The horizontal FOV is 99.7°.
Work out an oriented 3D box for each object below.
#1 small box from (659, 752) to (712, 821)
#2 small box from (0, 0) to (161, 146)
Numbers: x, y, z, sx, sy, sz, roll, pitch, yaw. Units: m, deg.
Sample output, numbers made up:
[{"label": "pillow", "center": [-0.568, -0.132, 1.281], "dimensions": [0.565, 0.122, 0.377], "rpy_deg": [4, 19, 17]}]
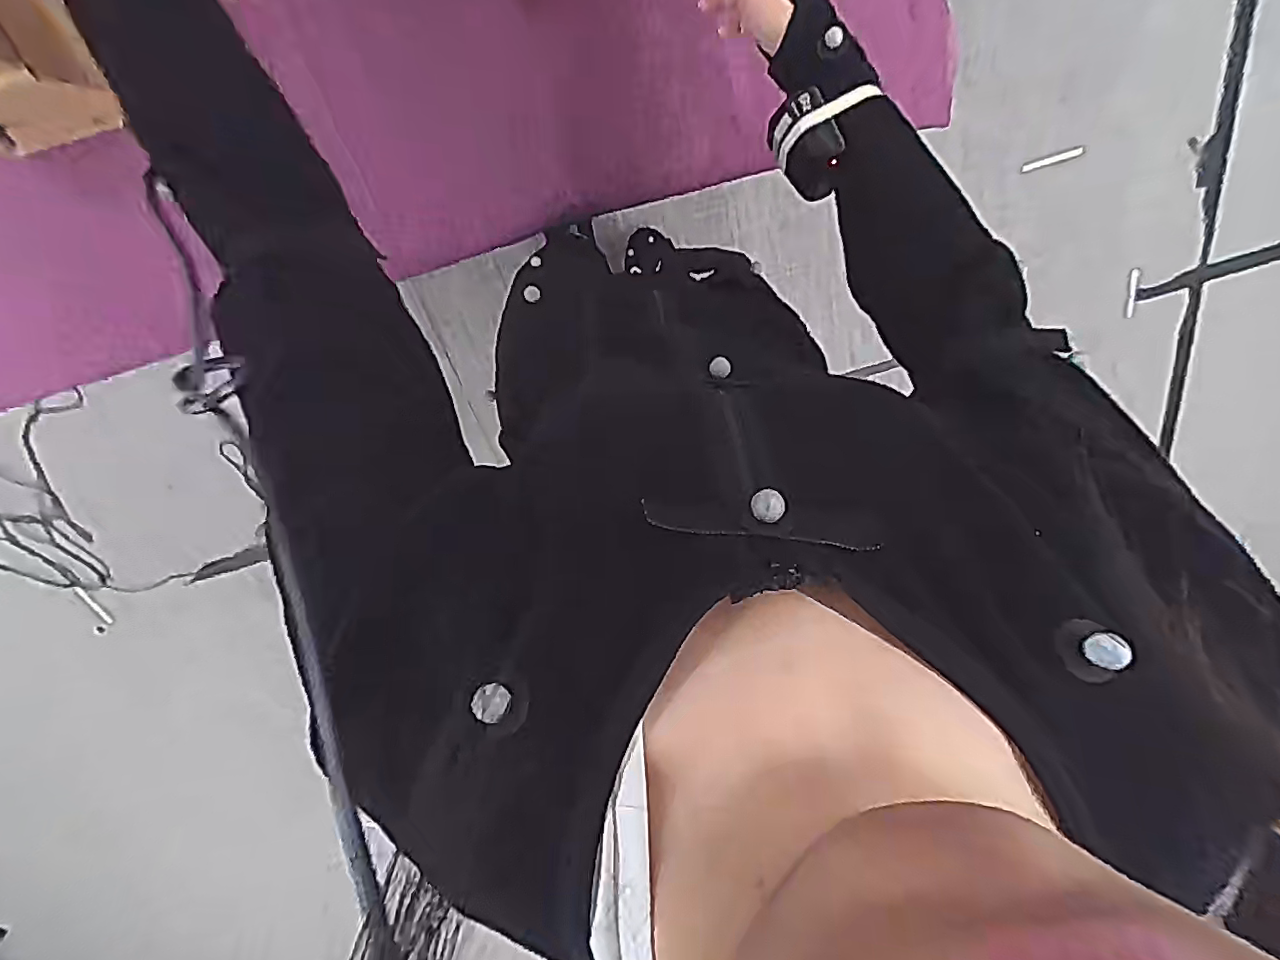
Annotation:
[{"label": "small box", "center": [0.178, 1.216, 2.163], "dimensions": [0.168, 0.176, 0.179], "rpy_deg": [-15, 119, 1]}, {"label": "small box", "center": [-0.549, -0.380, 0.424], "dimensions": [0.168, 0.176, 0.179], "rpy_deg": [-16, 118, 1]}]
